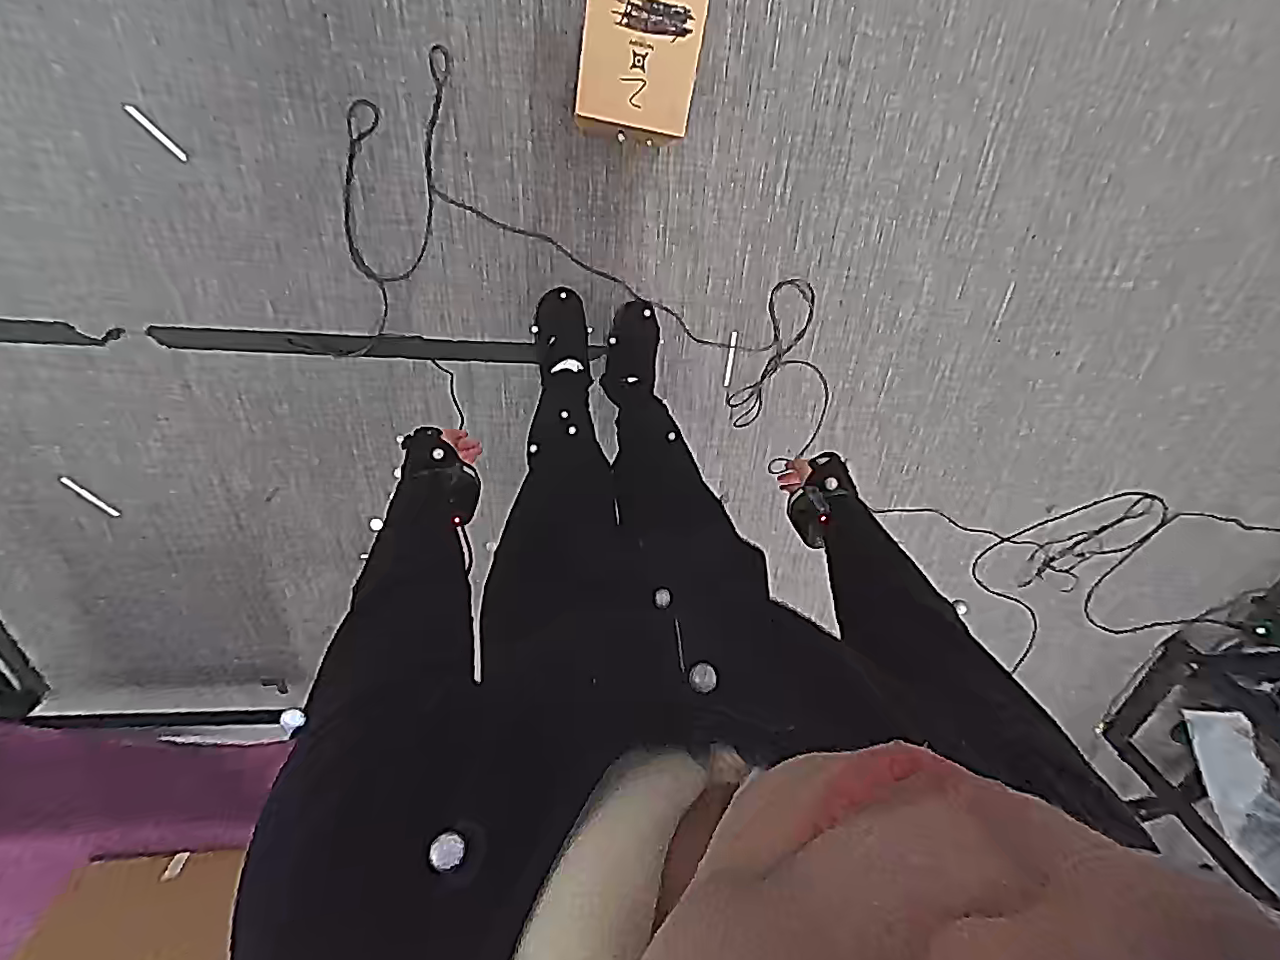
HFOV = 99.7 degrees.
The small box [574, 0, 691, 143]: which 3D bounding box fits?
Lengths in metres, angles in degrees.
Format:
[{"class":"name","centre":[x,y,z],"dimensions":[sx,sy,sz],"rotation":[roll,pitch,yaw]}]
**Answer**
[{"class":"small box","centre":[-0.022,-0.713,0.966],"dimensions":[0.179,0.176,0.168],"rotation":[5,119,-9]}]
